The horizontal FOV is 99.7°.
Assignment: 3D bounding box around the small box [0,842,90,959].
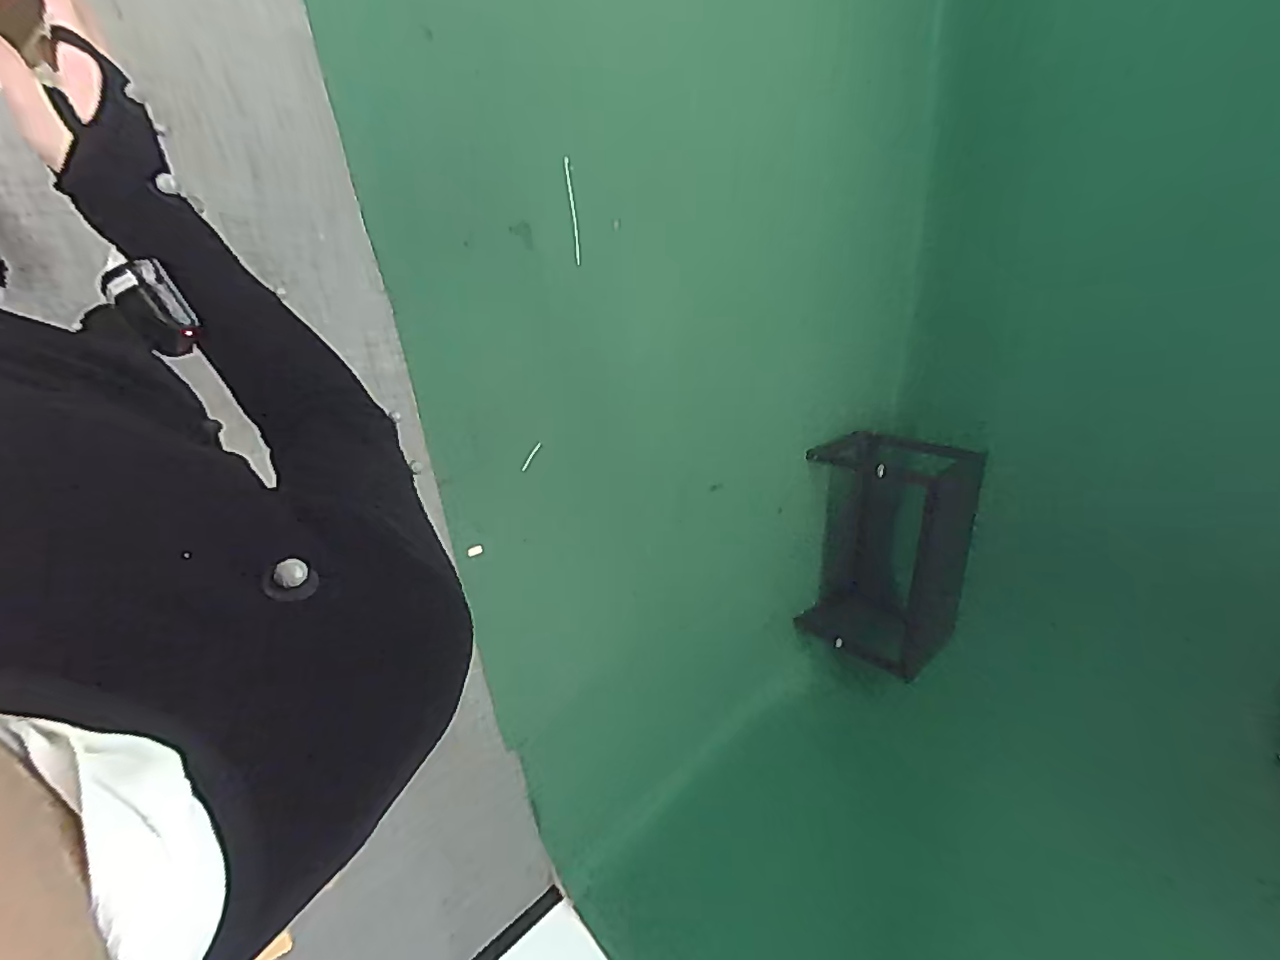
[{"bbox_3d":[-1.073,0.765,0.921,0.168,0.176,0.179,-9,111,-38],"label":"small box"}]
